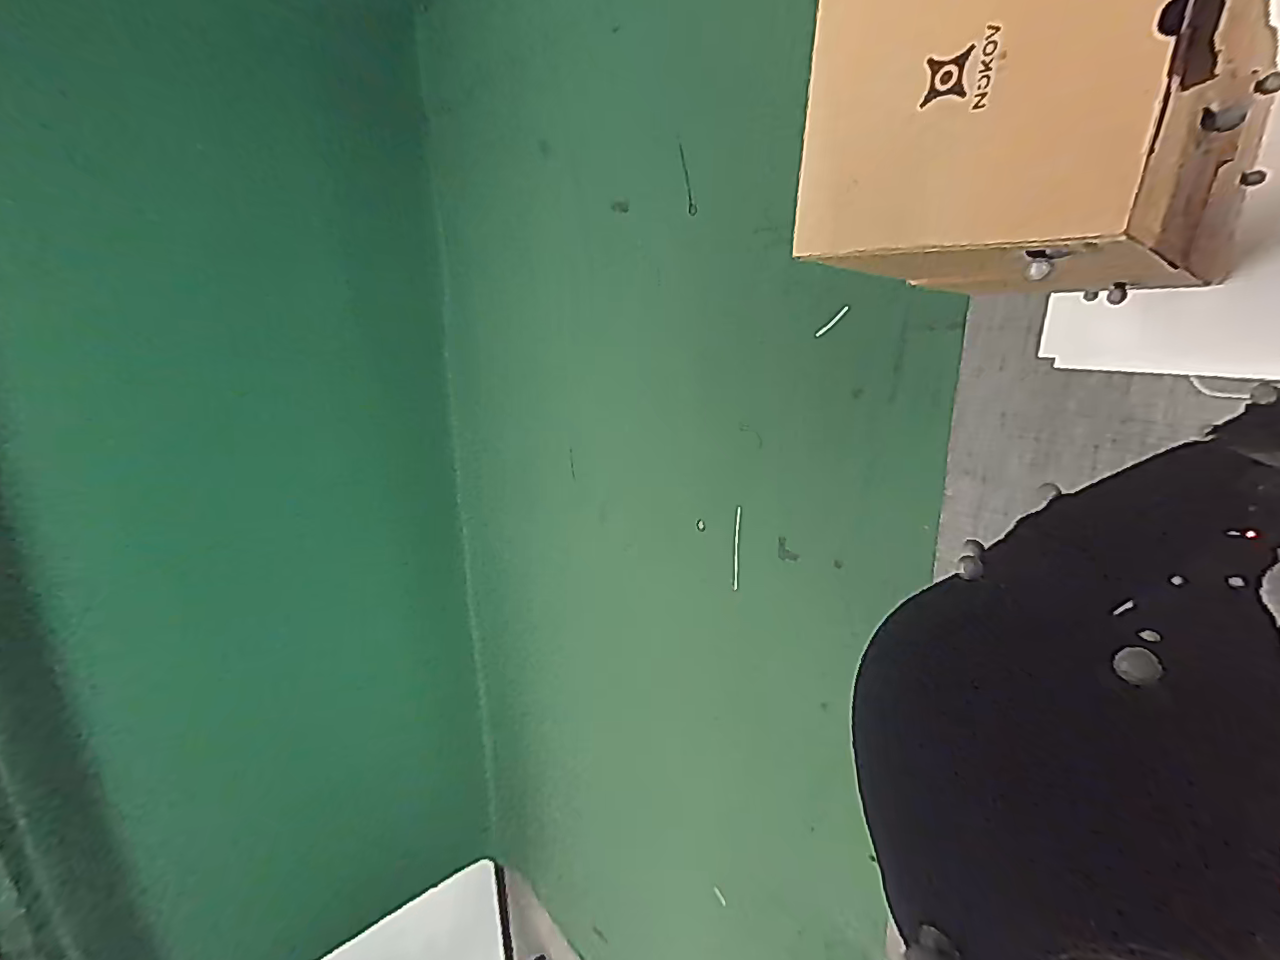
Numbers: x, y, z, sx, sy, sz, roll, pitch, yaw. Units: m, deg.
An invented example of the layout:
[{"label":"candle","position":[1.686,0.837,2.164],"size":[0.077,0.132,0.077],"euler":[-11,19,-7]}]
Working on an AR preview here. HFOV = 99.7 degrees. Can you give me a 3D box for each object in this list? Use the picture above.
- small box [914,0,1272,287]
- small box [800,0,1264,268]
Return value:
[{"label":"small box","position":[0.352,-0.248,0.430],"size":[0.179,0.176,0.168],"euler":[17,112,48]},{"label":"small box","position":[0.227,-0.226,0.328],"size":[0.179,0.176,0.168],"euler":[19,114,46]}]
